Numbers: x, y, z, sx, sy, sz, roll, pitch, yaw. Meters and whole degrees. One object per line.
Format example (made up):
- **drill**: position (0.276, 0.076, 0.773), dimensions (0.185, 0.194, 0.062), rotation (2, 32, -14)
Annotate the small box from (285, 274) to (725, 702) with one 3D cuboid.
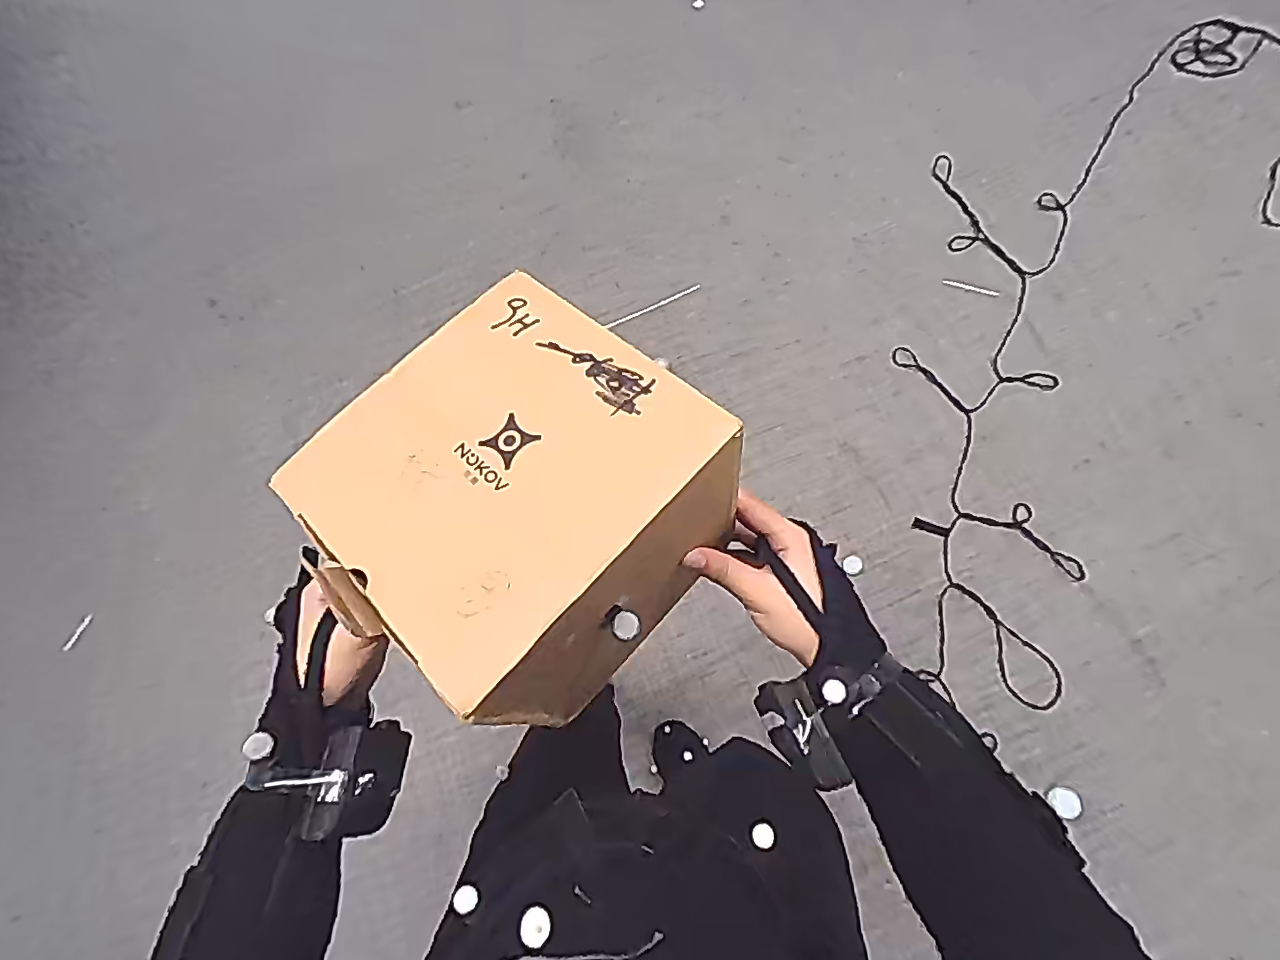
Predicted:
- **small box**: position (-0.060, 0.018, 0.341), dimensions (0.168, 0.176, 0.179), rotation (39, 77, 22)
